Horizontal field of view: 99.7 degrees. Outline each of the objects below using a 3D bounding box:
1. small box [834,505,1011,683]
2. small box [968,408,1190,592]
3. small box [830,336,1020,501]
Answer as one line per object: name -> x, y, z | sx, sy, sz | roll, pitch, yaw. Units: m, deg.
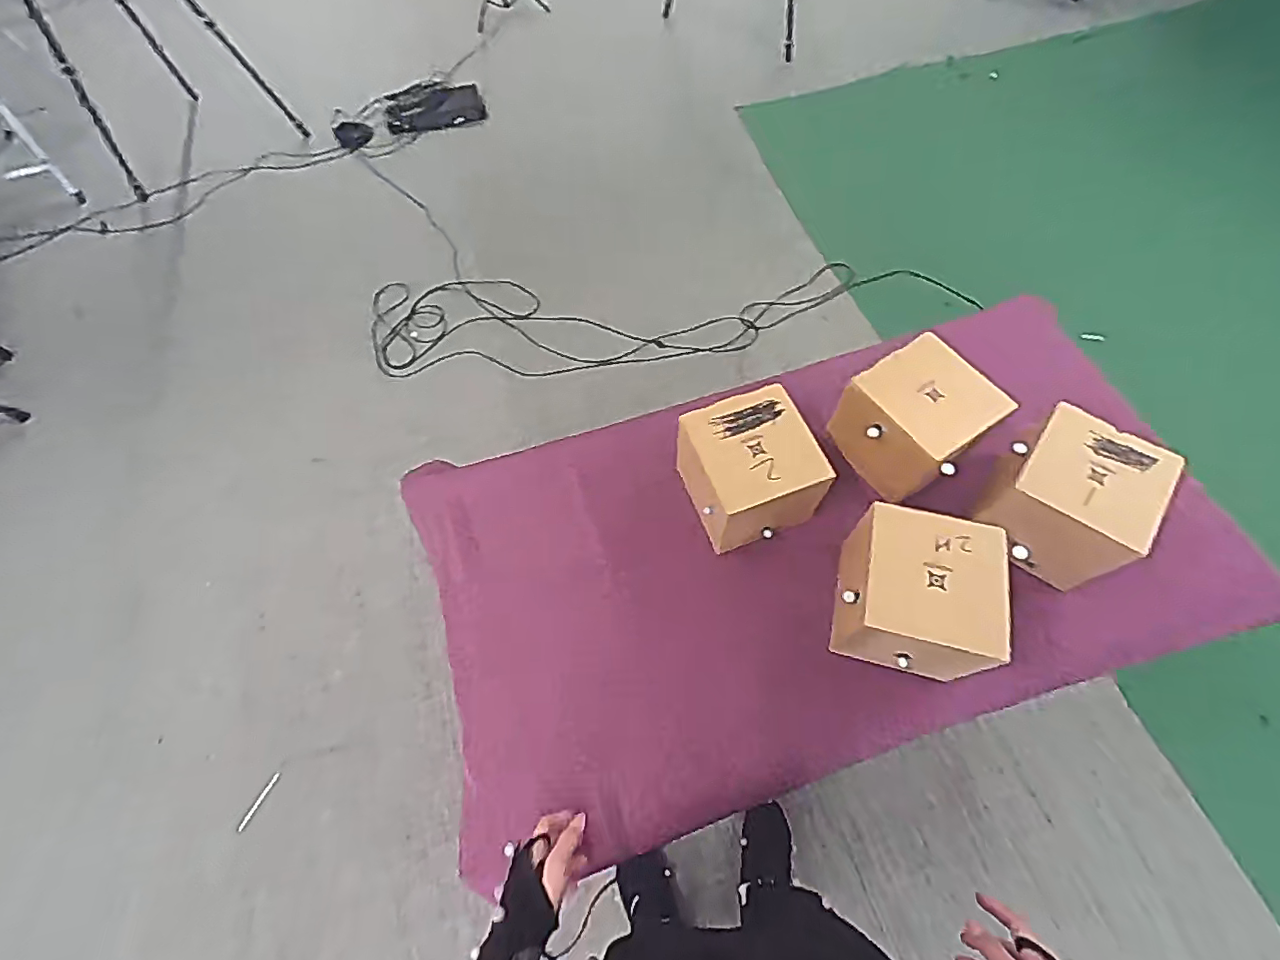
small box -> 0.375, 0.162, 0.739 | 0.168, 0.176, 0.179 | 14, 63, 10
small box -> 0.624, 0.035, 0.792 | 0.168, 0.176, 0.179 | 35, 71, 19
small box -> 0.439, -0.087, 0.866 | 0.168, 0.176, 0.179 | -31, 66, -12
